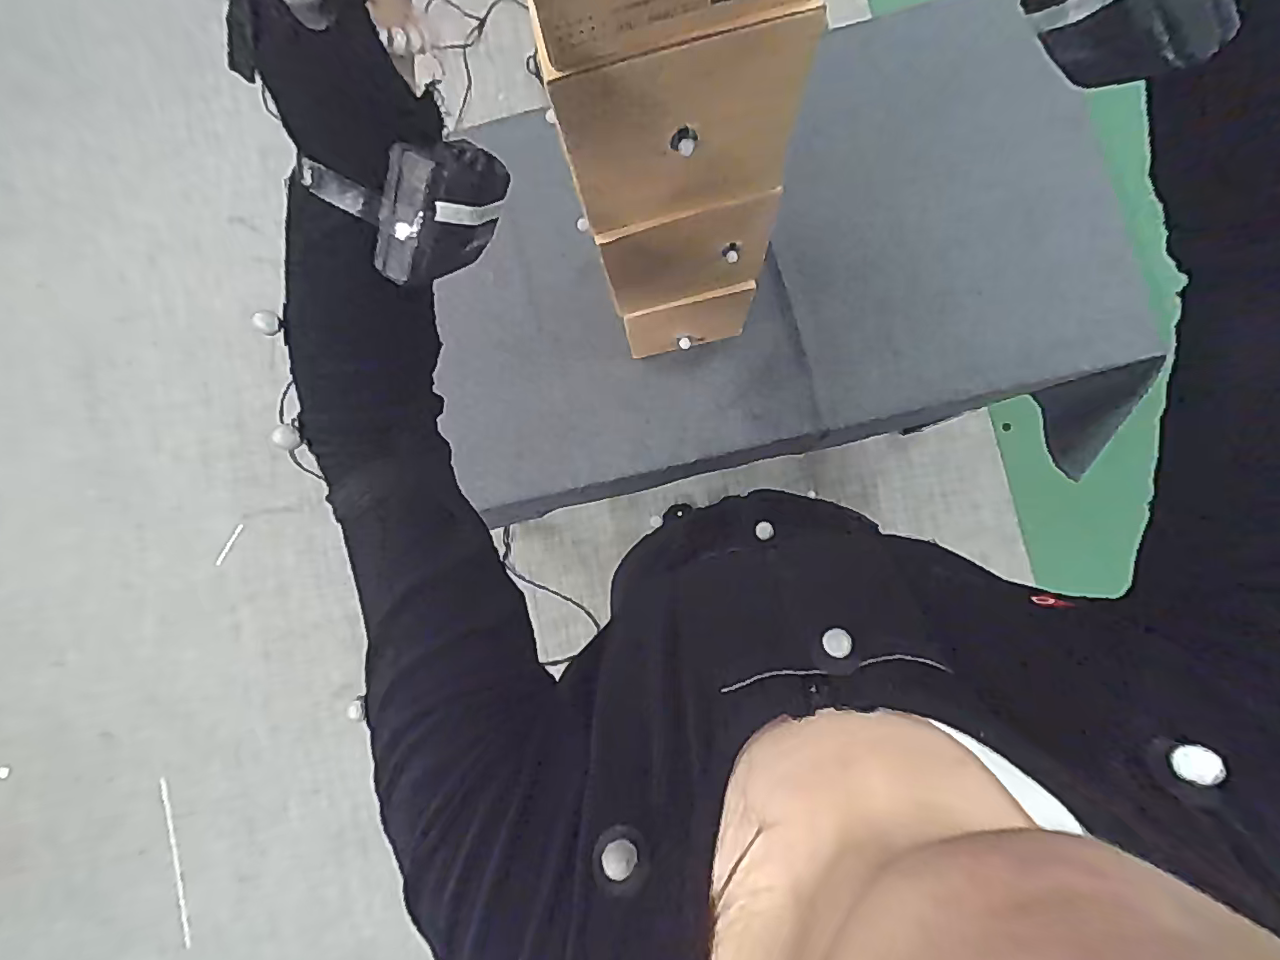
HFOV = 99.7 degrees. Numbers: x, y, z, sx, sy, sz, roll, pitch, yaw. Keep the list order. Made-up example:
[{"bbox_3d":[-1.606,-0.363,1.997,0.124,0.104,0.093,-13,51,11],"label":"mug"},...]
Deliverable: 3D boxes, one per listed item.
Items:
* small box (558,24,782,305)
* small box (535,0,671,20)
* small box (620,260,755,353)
[{"bbox_3d":[0.030,-0.310,0.568,0.179,0.176,0.168,-14,83,3],"label":"small box"},{"bbox_3d":[-0.002,-0.363,0.247,0.168,0.176,0.179,-13,83,3],"label":"small box"},{"bbox_3d":[0.047,-0.294,0.729,0.168,0.176,0.179,-12,85,4],"label":"small box"}]
